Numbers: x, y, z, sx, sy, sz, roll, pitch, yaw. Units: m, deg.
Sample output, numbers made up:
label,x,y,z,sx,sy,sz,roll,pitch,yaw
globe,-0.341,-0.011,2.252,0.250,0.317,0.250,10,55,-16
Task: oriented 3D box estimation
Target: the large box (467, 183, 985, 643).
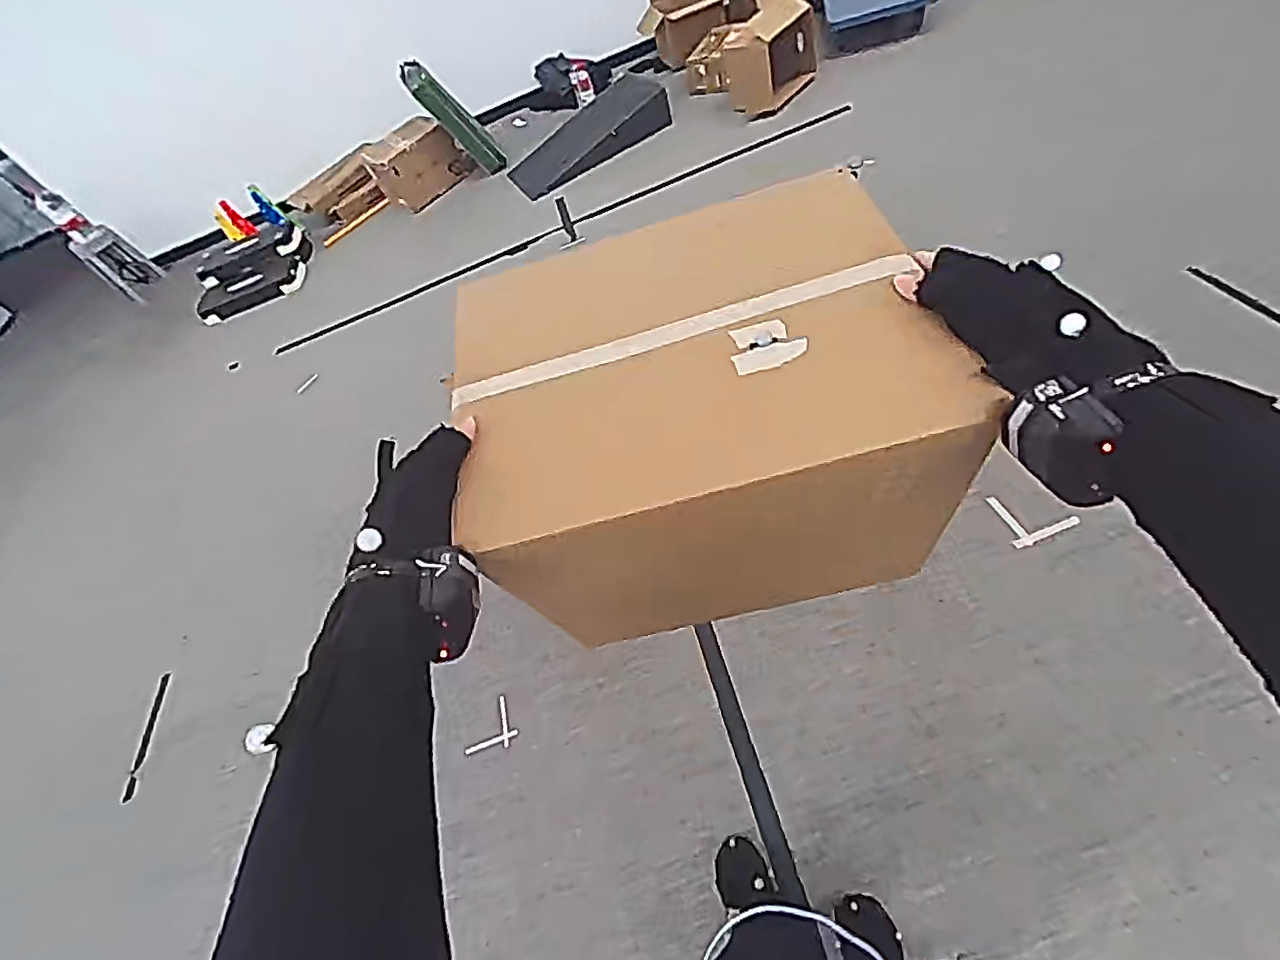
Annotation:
label,x,y,z,sx,sy,sz,roll,pitch,yaw
large box,0.063,-0.047,0.604,0.408,0.320,0.320,-15,59,5
